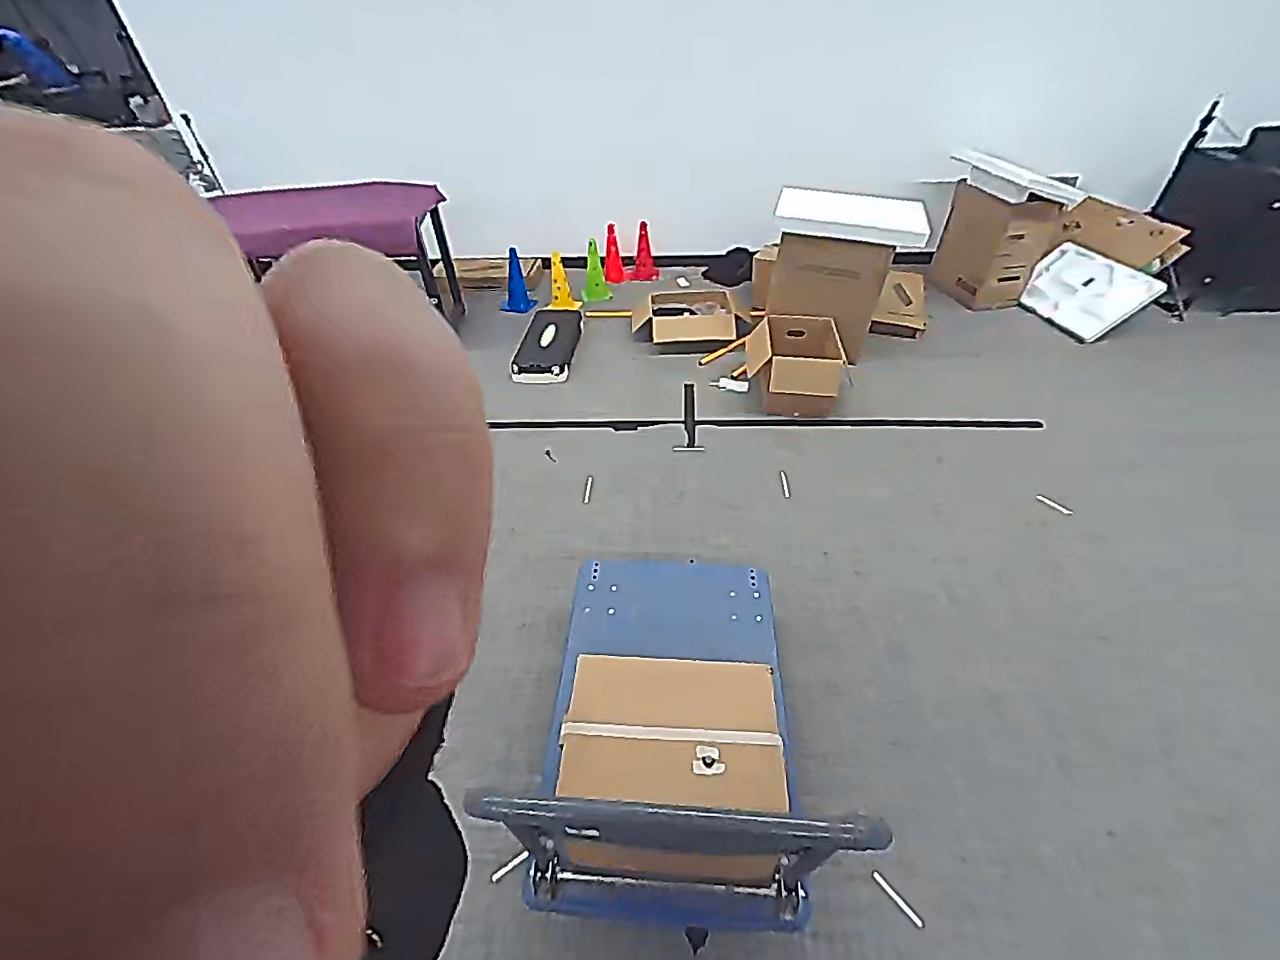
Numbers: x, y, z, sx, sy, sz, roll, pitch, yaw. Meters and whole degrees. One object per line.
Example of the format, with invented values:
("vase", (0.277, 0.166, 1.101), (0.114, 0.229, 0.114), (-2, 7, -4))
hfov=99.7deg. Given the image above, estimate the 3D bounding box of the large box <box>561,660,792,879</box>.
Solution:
("large box", (0.066, 0.602, 1.127), (0.408, 0.320, 0.320), (2, 43, 2))
